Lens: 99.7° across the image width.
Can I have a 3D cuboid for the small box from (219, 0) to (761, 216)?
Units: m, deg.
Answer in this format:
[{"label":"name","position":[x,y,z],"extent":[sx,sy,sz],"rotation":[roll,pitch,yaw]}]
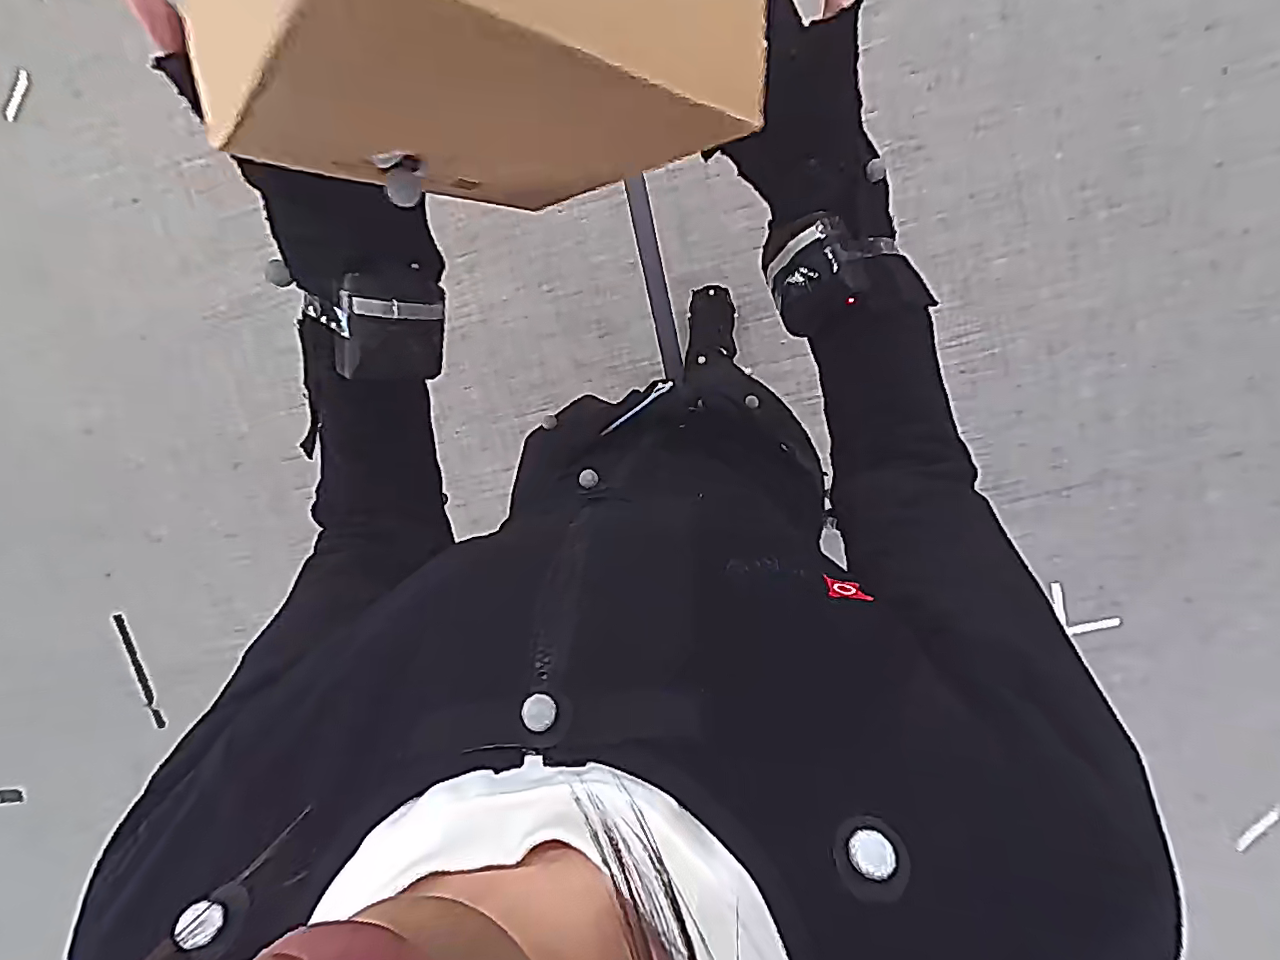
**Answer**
[{"label":"small box","position":[-0.066,-0.231,0.223],"extent":[0.176,0.168,0.179],"rotation":[10,108,44]}]
